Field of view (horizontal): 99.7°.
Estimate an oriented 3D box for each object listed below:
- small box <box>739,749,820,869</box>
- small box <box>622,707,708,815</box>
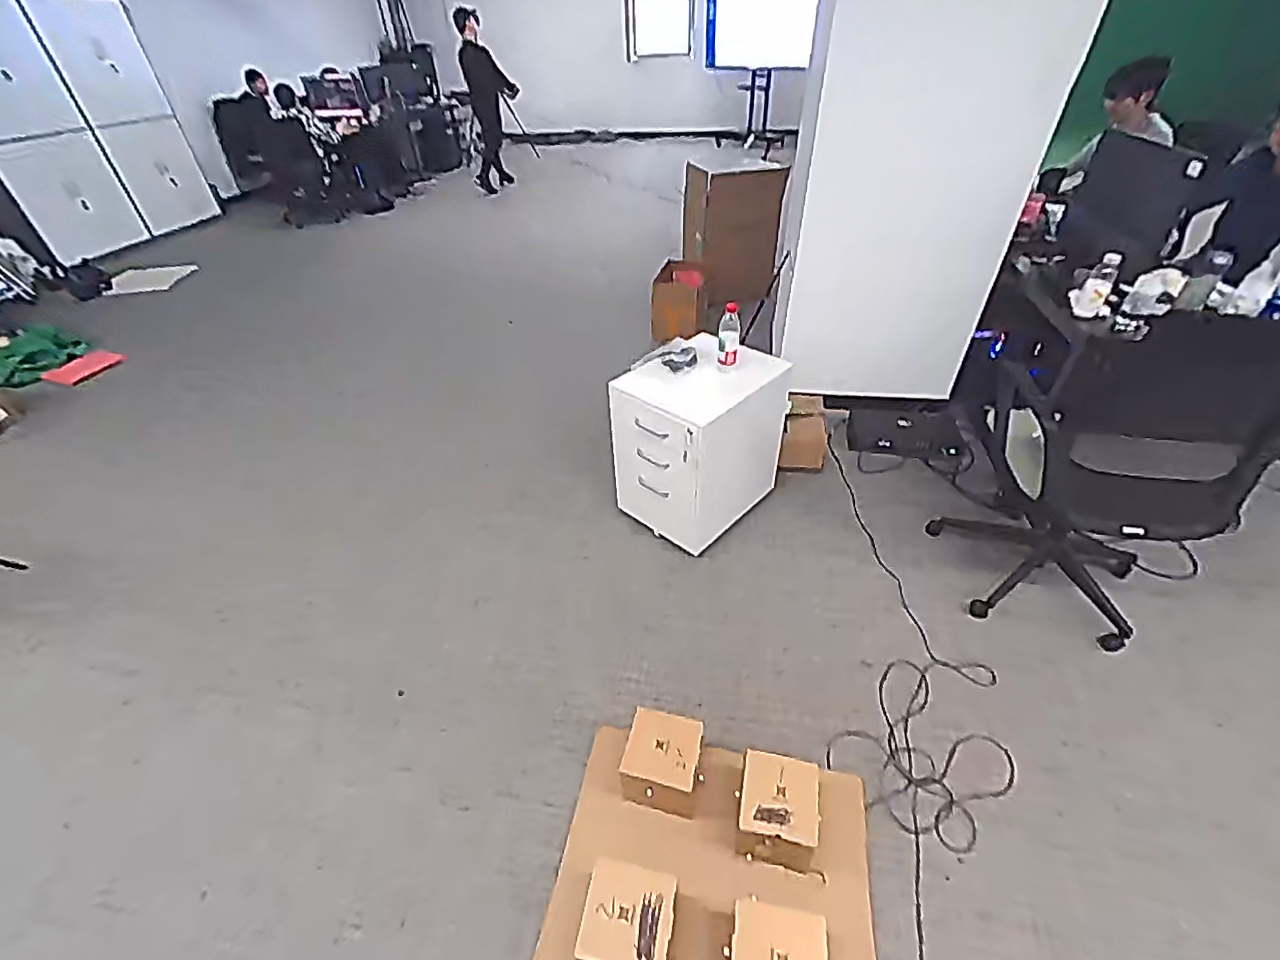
[{"bbox_3d":[0.323,0.768,1.260,0.168,0.176,0.179,7,40,14],"label":"small box"},{"bbox_3d":[0.066,0.703,1.351,0.179,0.176,0.168,9,42,15],"label":"small box"}]
